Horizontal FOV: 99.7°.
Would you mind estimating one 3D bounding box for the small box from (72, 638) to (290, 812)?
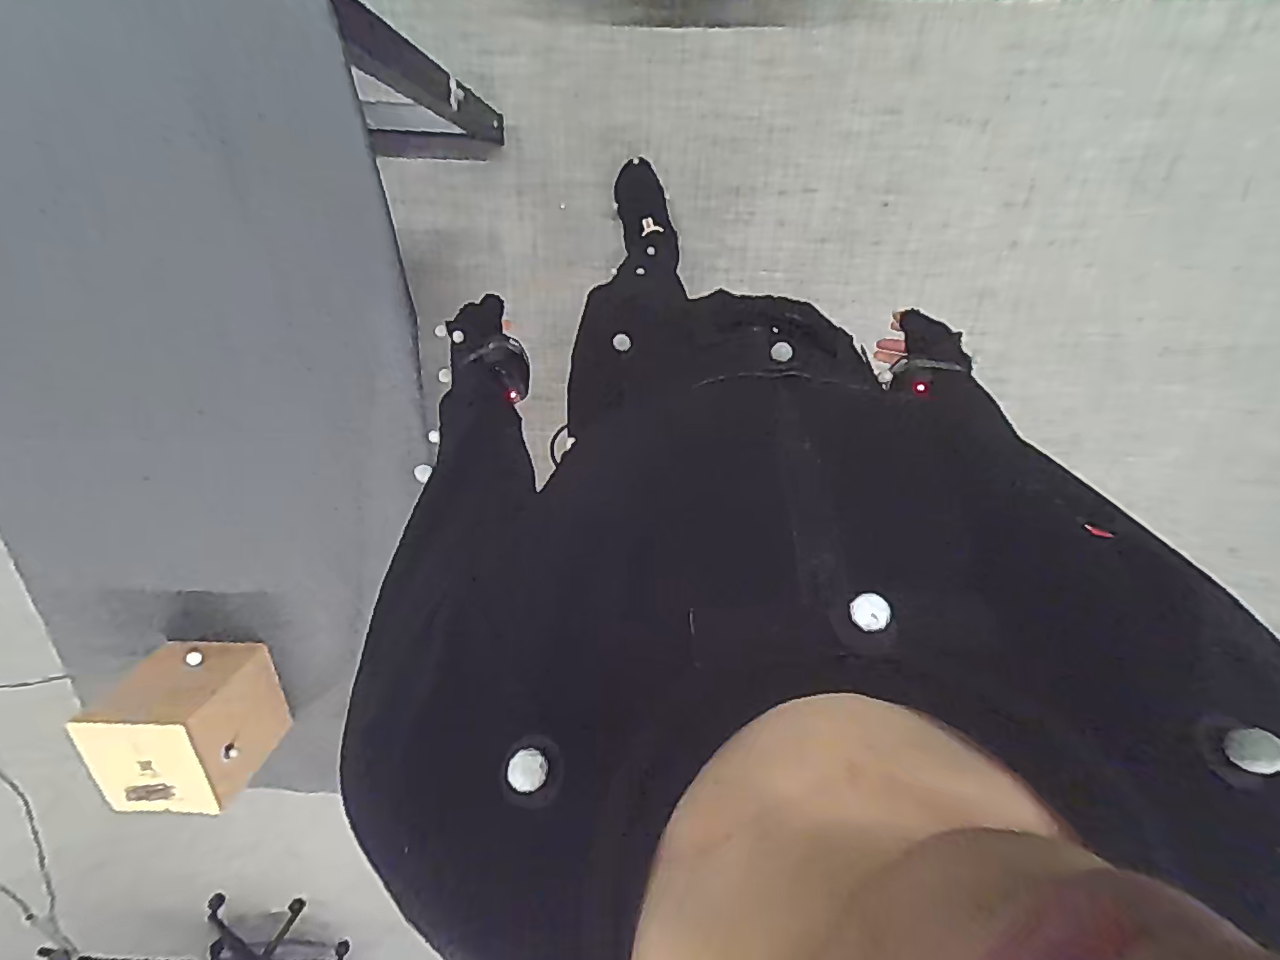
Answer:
[{"bbox_3d":[-0.678,0.369,0.828,0.168,0.176,0.179,0,113,2],"label":"small box"}]
